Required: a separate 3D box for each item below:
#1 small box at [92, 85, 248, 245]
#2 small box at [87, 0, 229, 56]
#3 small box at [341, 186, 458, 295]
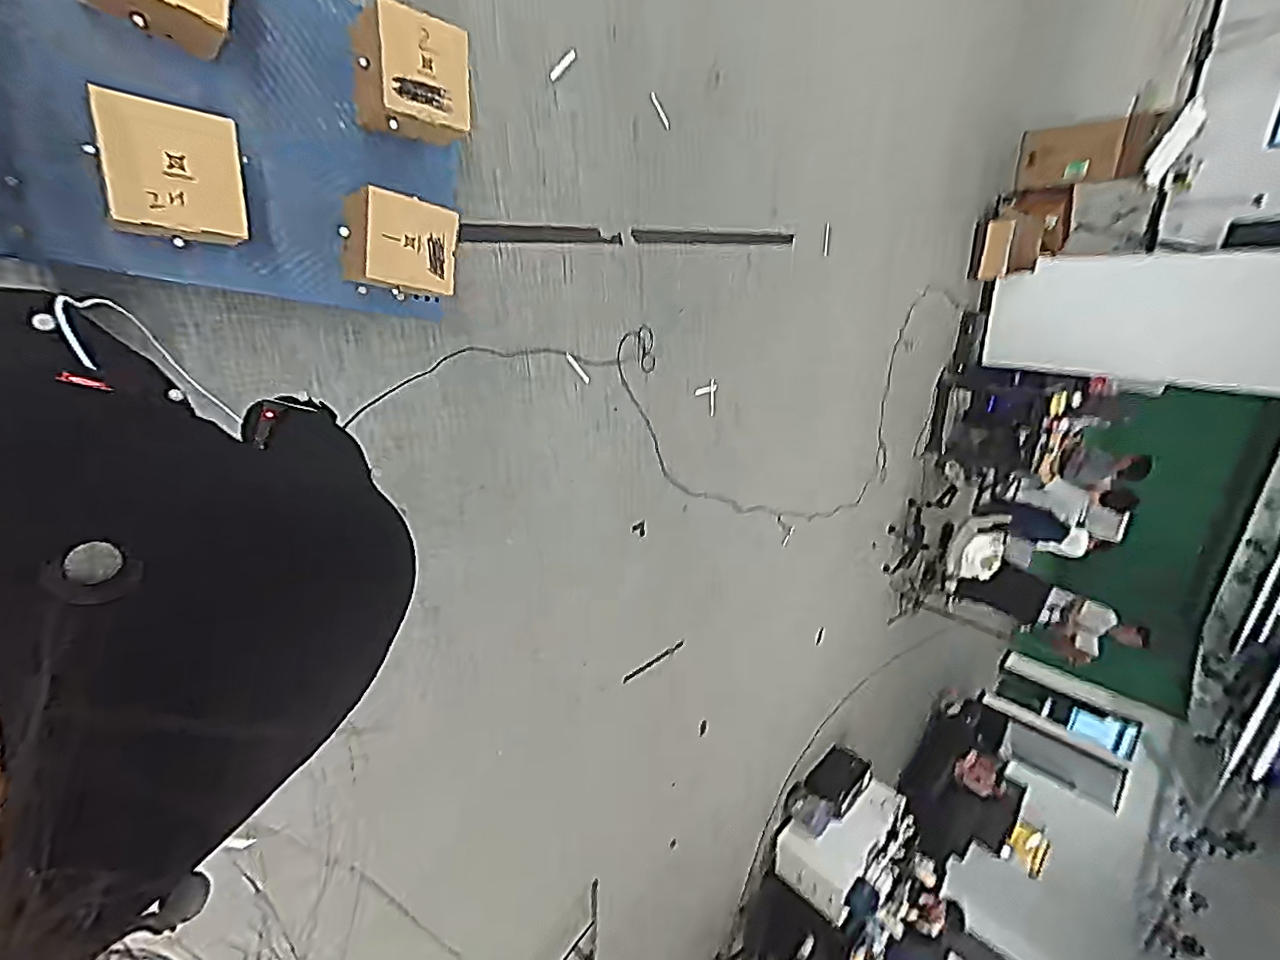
[{"bbox_3d":[-0.759,-0.491,0.875,0.168,0.176,0.179,-11,111,-41],"label":"small box"},{"bbox_3d":[-0.726,-0.790,0.806,0.168,0.176,0.179,2,104,-45],"label":"small box"},{"bbox_3d":[-0.502,-0.489,1.126,0.179,0.176,0.168,-3,106,-43],"label":"small box"}]
